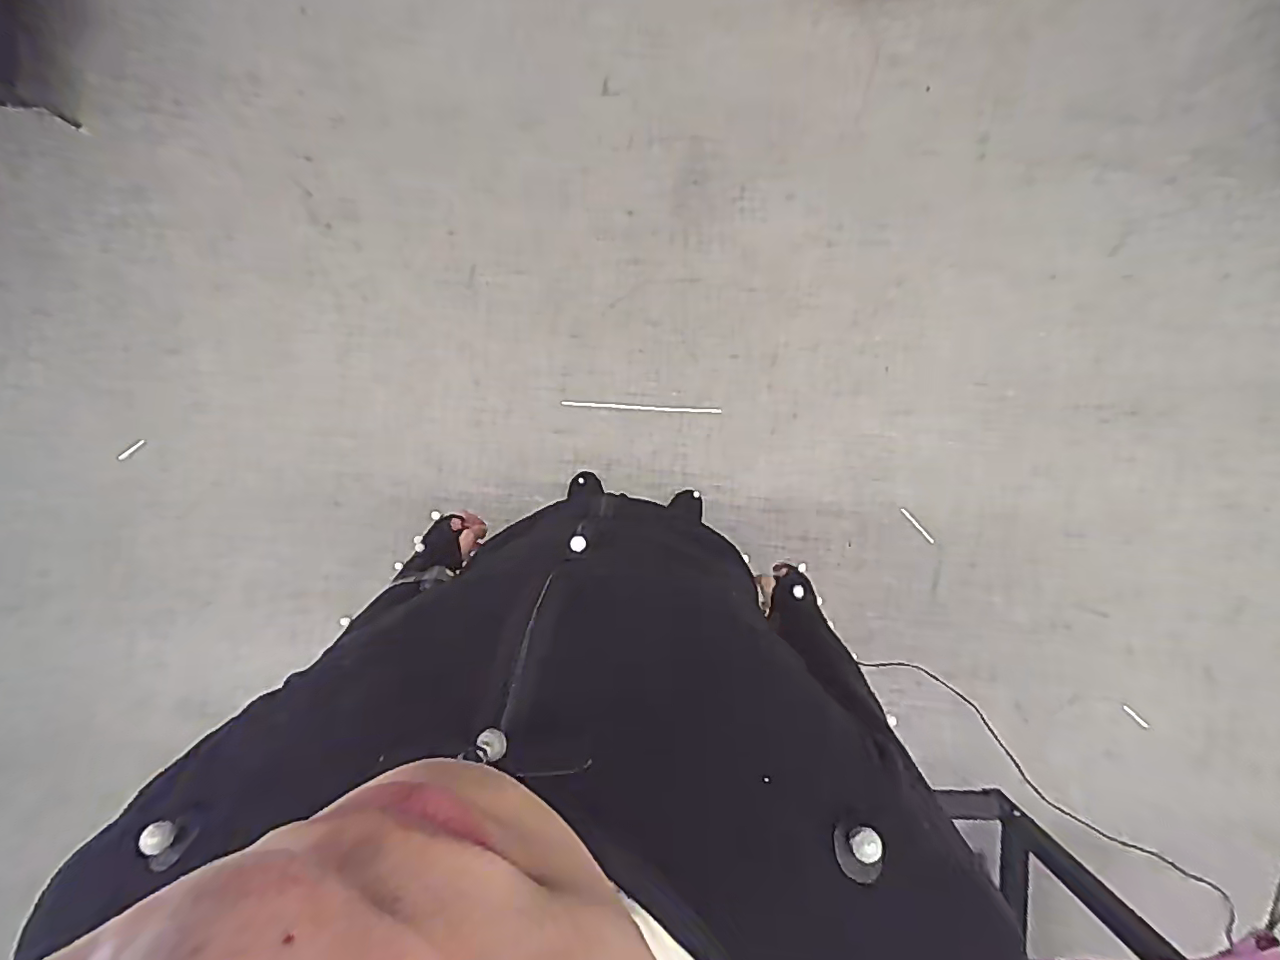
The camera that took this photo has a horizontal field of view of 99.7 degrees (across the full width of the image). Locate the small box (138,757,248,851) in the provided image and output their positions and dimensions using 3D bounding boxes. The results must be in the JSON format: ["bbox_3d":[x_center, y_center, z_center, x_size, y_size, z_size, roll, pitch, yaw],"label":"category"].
[{"bbox_3d":[-1.274,0.921,1.553,0.179,0.176,0.168,7,90,0],"label":"small box"}]
